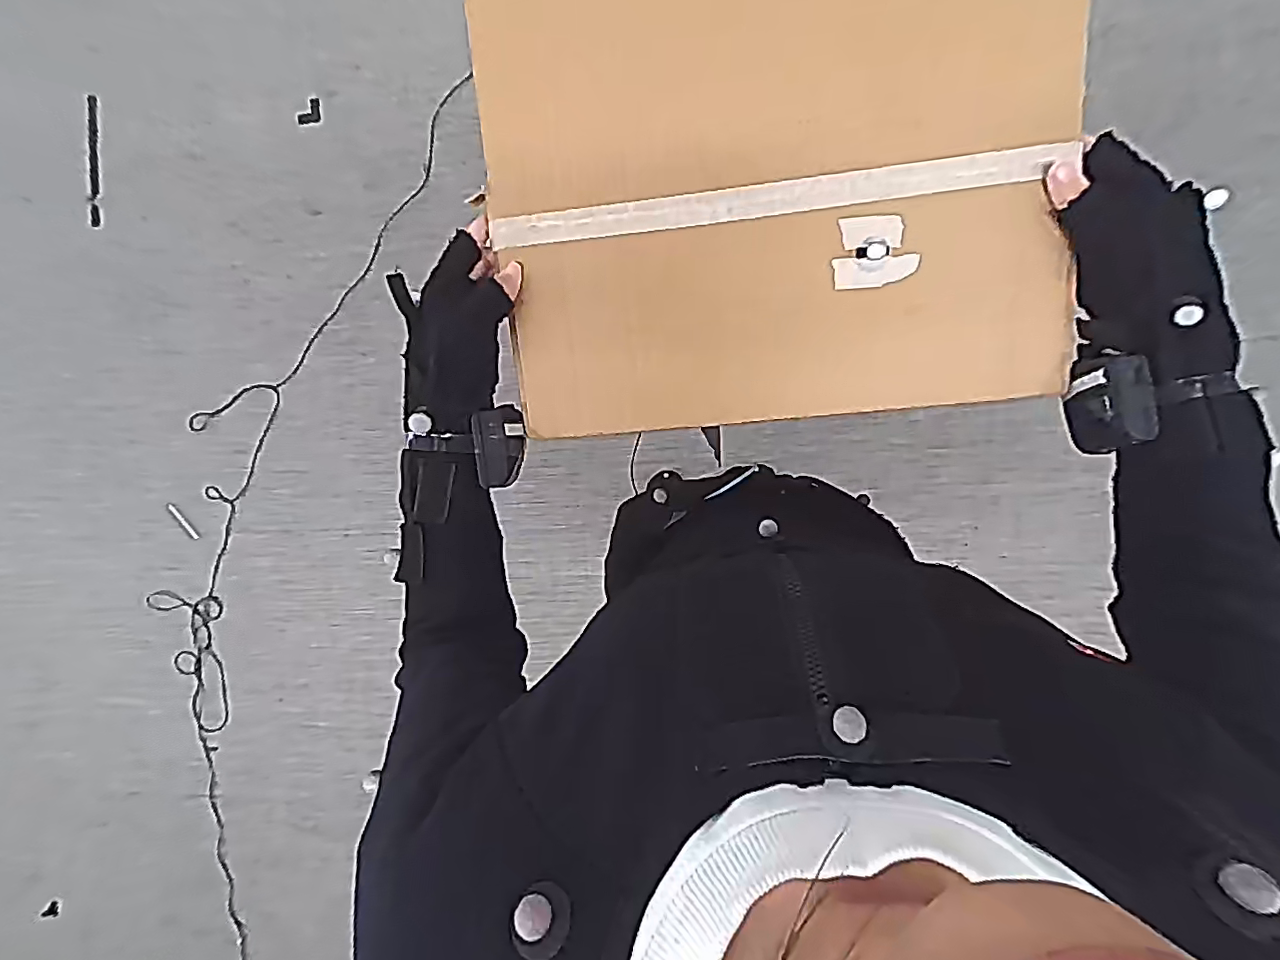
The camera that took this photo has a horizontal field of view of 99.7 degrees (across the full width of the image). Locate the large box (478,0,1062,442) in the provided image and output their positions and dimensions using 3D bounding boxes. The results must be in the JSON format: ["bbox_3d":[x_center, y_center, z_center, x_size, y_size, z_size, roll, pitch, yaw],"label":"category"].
[{"bbox_3d":[0.104,-0.228,0.543,0.408,0.320,0.320,-5,101,5],"label":"large box"}]
